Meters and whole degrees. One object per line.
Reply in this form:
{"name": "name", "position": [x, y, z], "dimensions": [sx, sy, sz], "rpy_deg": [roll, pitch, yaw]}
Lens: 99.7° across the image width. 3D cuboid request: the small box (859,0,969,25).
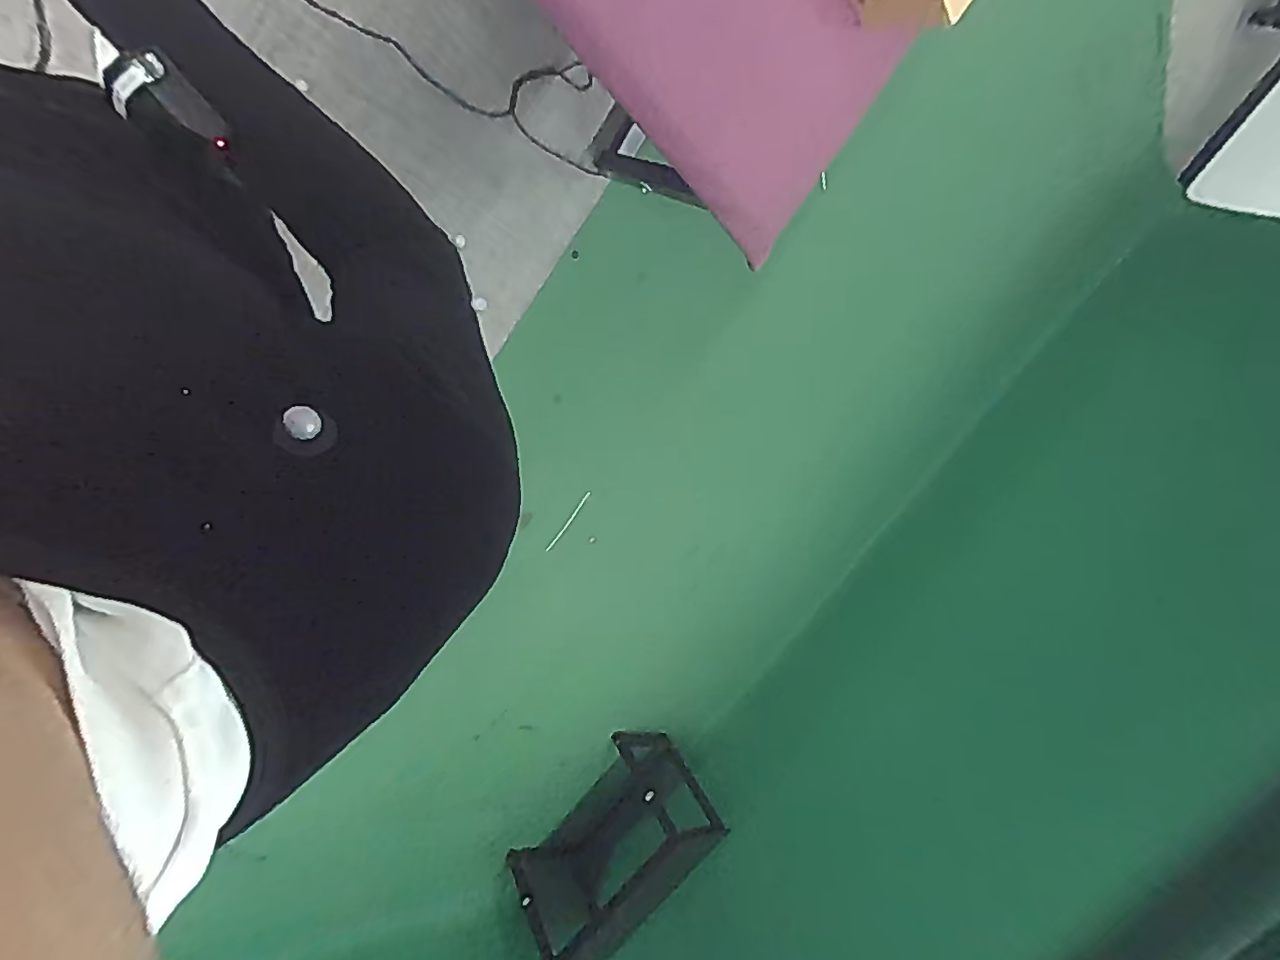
{"name": "small box", "position": [0.425, -0.819, 0.795], "dimensions": [0.168, 0.176, 0.179], "rpy_deg": [26, 107, -45]}
